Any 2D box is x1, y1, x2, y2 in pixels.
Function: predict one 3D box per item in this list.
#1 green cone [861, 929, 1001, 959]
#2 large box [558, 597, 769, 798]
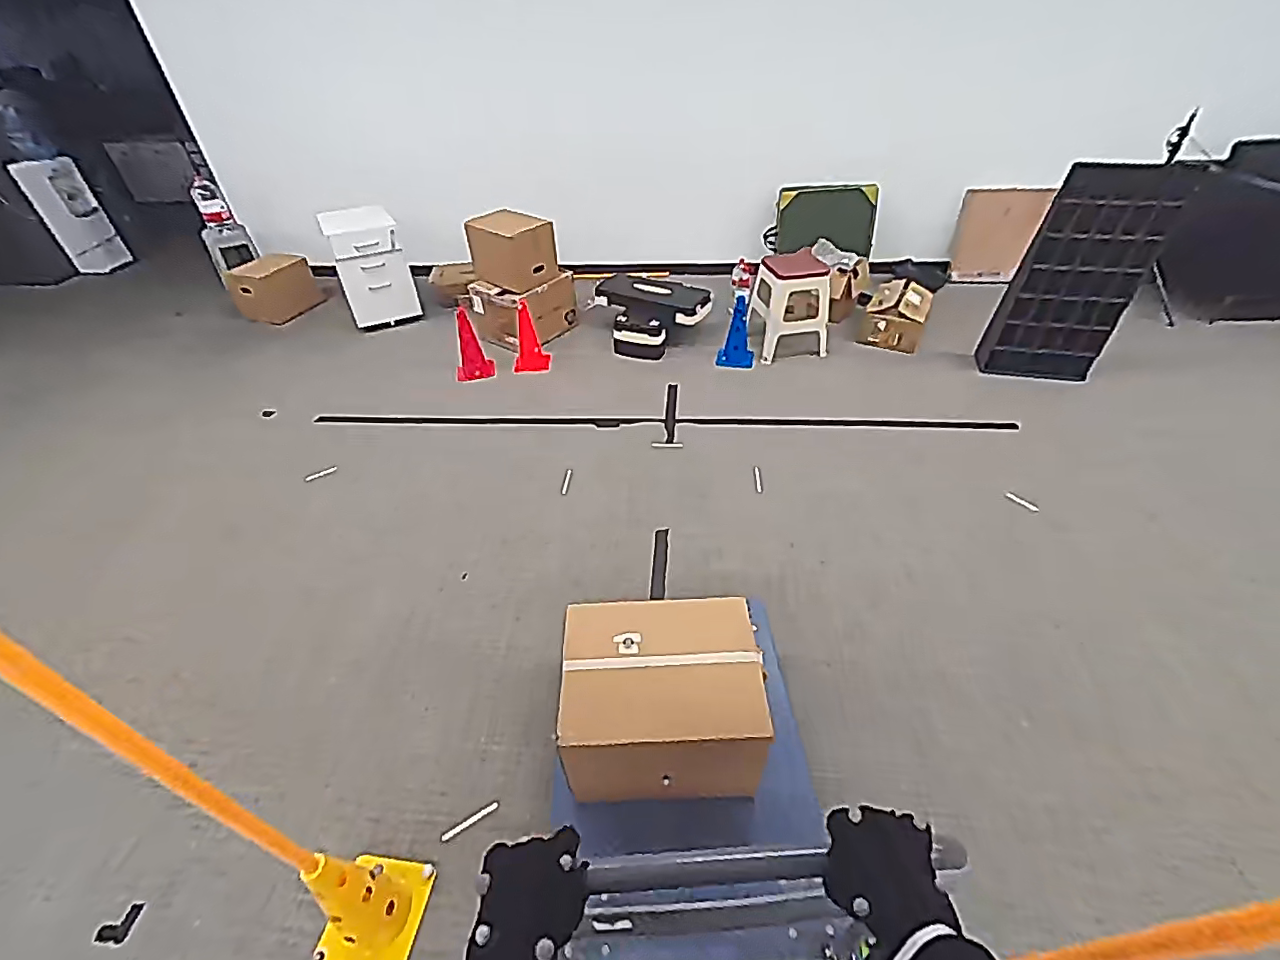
[{"bbox_3d":[0.546,0.893,0.948,0.202,0.368,0.200,5,41,6],"label":"green cone"},{"bbox_3d":[0.047,0.492,1.219,0.408,0.320,0.320,-3,42,1],"label":"large box"}]
